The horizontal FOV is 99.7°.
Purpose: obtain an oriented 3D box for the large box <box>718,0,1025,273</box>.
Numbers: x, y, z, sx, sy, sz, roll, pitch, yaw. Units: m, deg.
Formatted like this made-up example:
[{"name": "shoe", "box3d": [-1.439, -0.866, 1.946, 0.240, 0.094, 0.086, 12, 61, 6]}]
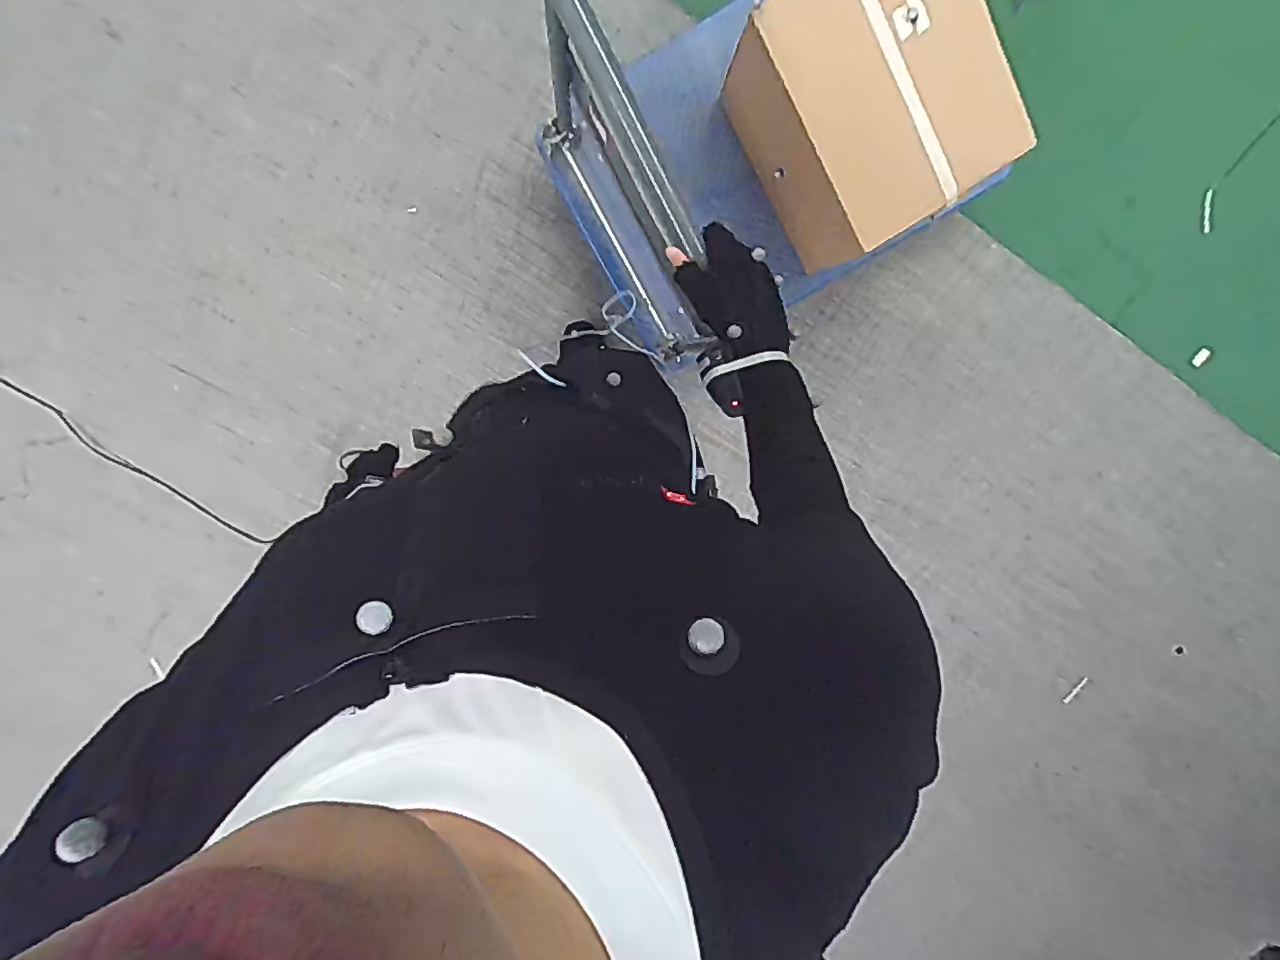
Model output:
[{"name": "large box", "box3d": [0.387, -0.655, 0.988, 0.320, 0.320, 0.408, -31, 102, 6]}]
